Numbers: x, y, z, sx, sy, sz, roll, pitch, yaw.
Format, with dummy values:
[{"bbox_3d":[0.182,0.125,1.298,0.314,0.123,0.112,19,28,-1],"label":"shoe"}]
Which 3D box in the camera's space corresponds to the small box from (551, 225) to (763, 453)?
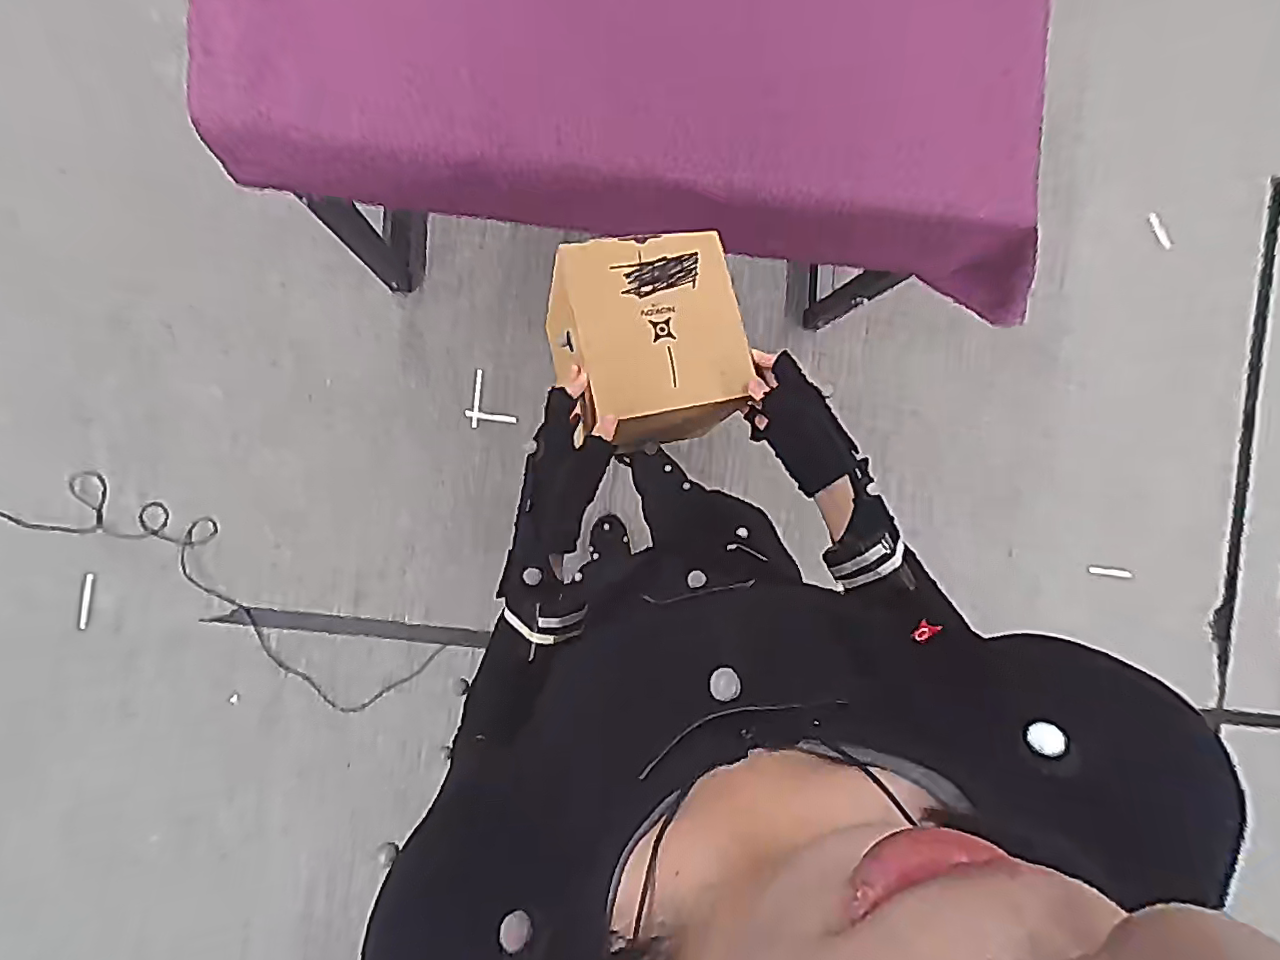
[{"bbox_3d":[0.004,-0.143,0.588,0.168,0.176,0.179,-13,83,-15],"label":"small box"}]
